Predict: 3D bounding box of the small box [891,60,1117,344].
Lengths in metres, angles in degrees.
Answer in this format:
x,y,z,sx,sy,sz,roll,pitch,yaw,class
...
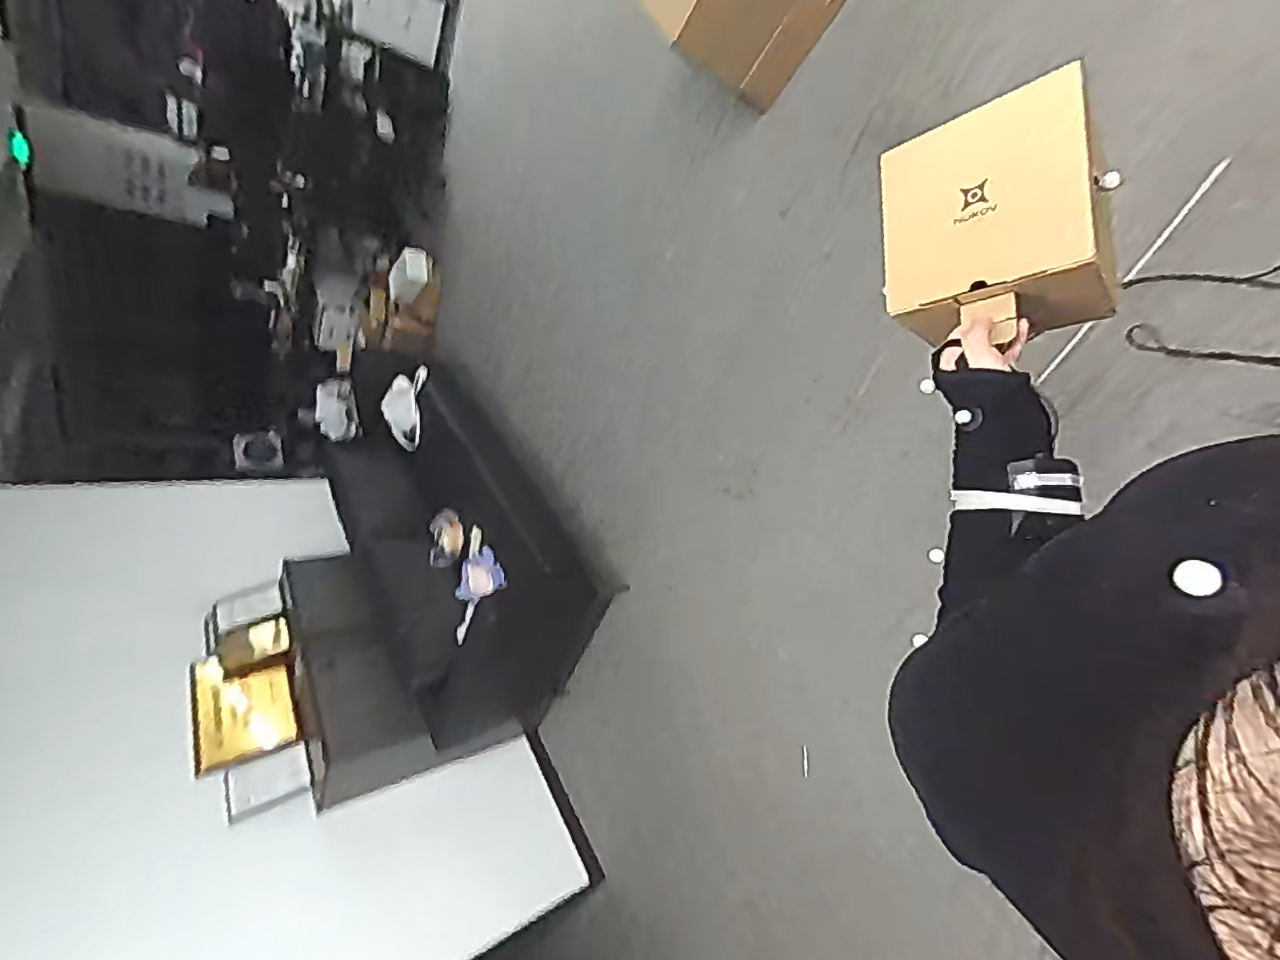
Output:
x,y,z,sx,sy,sz,roll,pitch,yaw,class
0.372,-0.257,0.554,0.168,0.176,0.179,-3,85,45,small box
